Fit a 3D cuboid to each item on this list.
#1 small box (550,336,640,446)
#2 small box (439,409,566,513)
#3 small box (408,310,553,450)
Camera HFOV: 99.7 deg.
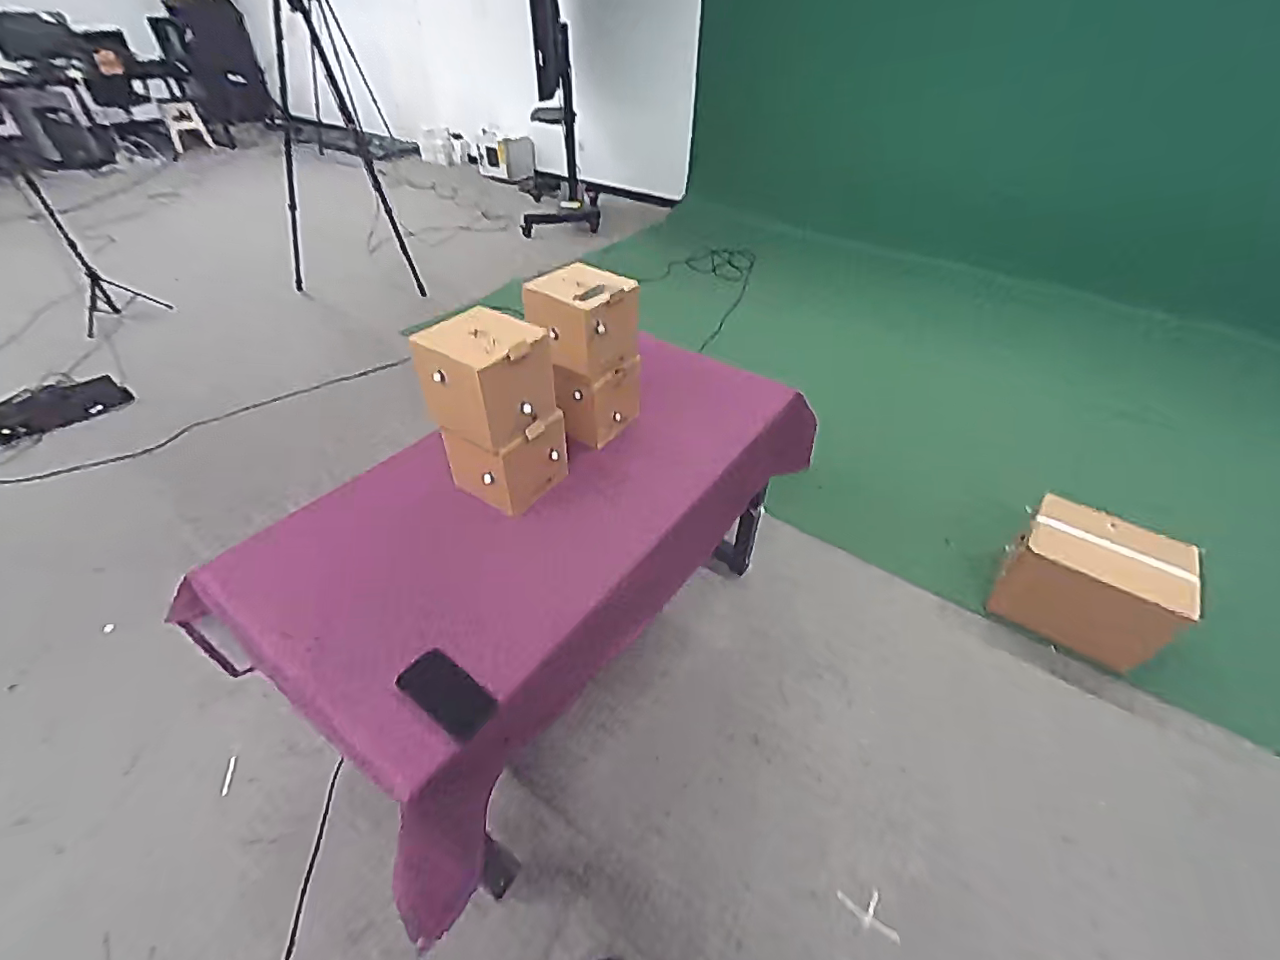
[{"bbox_3d":[-0.118,-0.205,1.248,0.179,0.176,0.168,27,48,24],"label":"small box"},{"bbox_3d":[-0.265,-0.058,1.083,0.179,0.176,0.168,26,47,25],"label":"small box"},{"bbox_3d":[-0.277,-0.179,0.970,0.179,0.176,0.168,25,47,24],"label":"small box"}]
